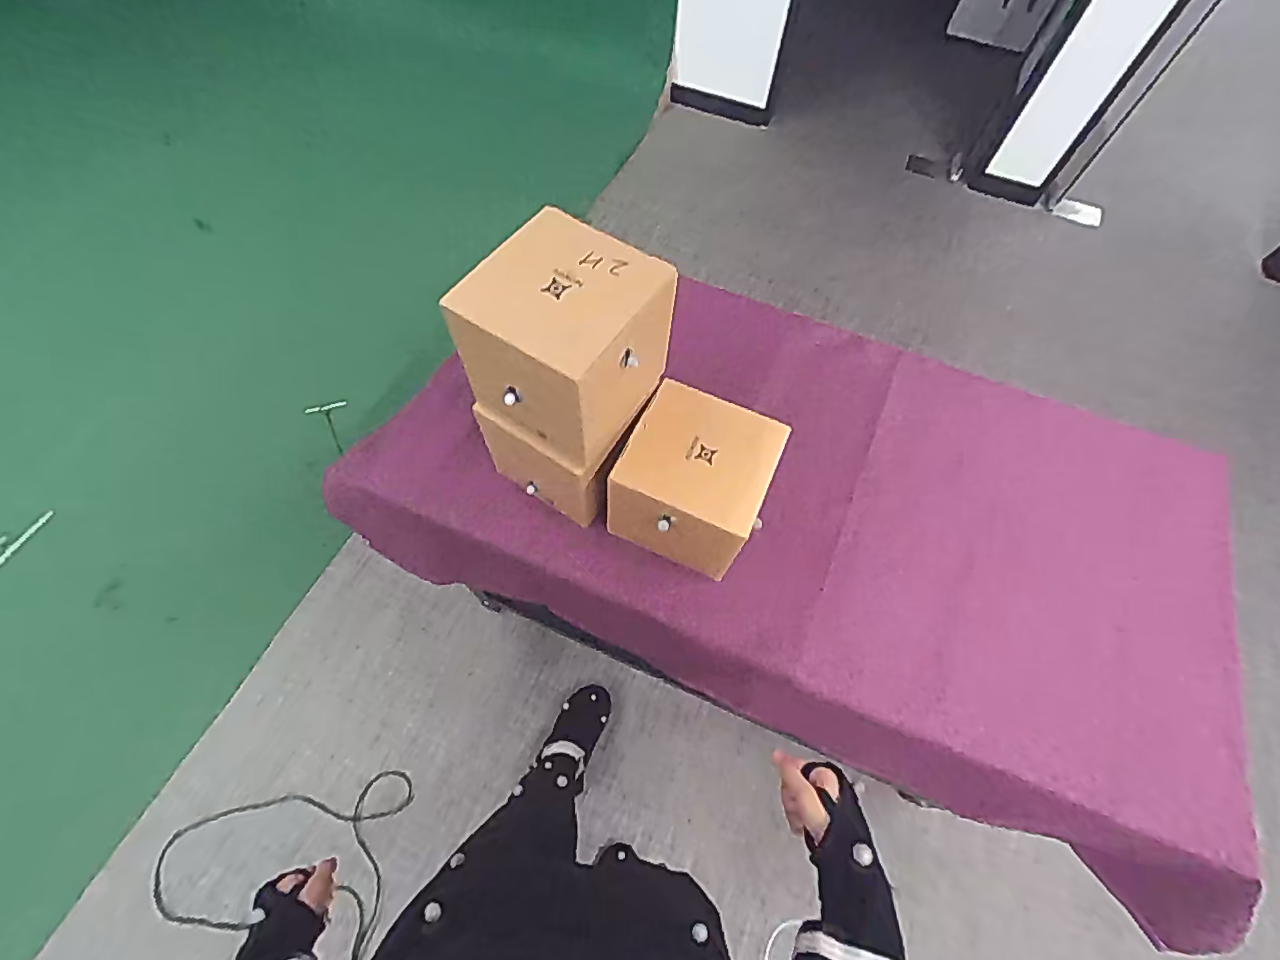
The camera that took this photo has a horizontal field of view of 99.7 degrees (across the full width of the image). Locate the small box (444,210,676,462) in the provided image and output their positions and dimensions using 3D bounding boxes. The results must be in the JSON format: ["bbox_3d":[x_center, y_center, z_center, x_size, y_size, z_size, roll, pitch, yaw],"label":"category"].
[{"bbox_3d":[-0.078,-0.151,0.601,0.168,0.176,0.179,32,65,12],"label":"small box"}]
